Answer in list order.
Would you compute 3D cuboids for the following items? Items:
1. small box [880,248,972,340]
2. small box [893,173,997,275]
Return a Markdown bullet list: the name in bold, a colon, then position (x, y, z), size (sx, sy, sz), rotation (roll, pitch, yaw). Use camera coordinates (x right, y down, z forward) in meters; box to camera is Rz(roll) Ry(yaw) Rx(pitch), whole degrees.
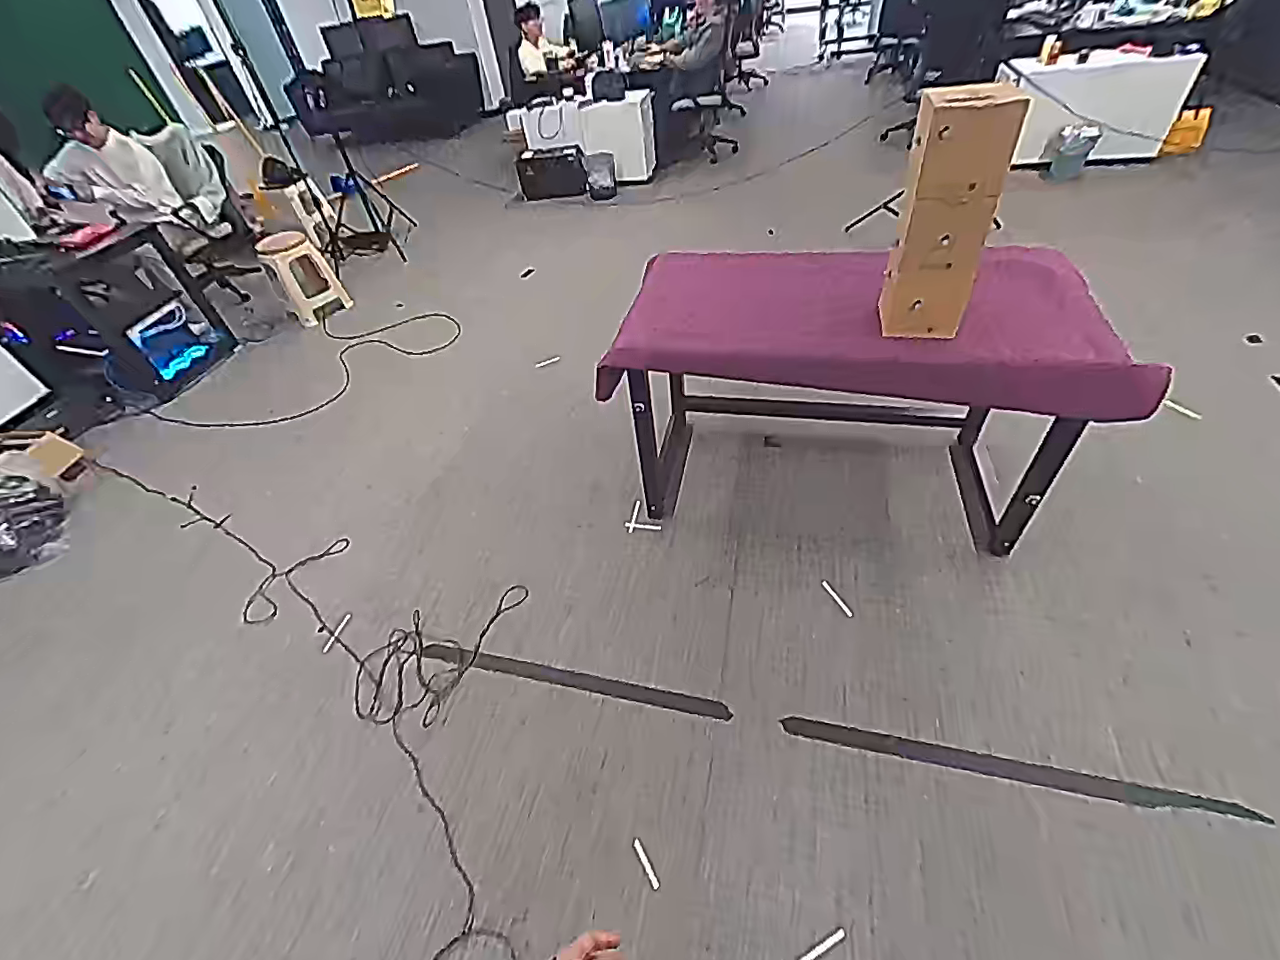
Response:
- **small box**: position (0.710, -0.468, 1.361), size (0.168, 0.176, 0.179), rotation (5, 46, 14)
- **small box**: position (0.693, -0.587, 1.250), size (0.168, 0.176, 0.179), rotation (6, 47, 15)
